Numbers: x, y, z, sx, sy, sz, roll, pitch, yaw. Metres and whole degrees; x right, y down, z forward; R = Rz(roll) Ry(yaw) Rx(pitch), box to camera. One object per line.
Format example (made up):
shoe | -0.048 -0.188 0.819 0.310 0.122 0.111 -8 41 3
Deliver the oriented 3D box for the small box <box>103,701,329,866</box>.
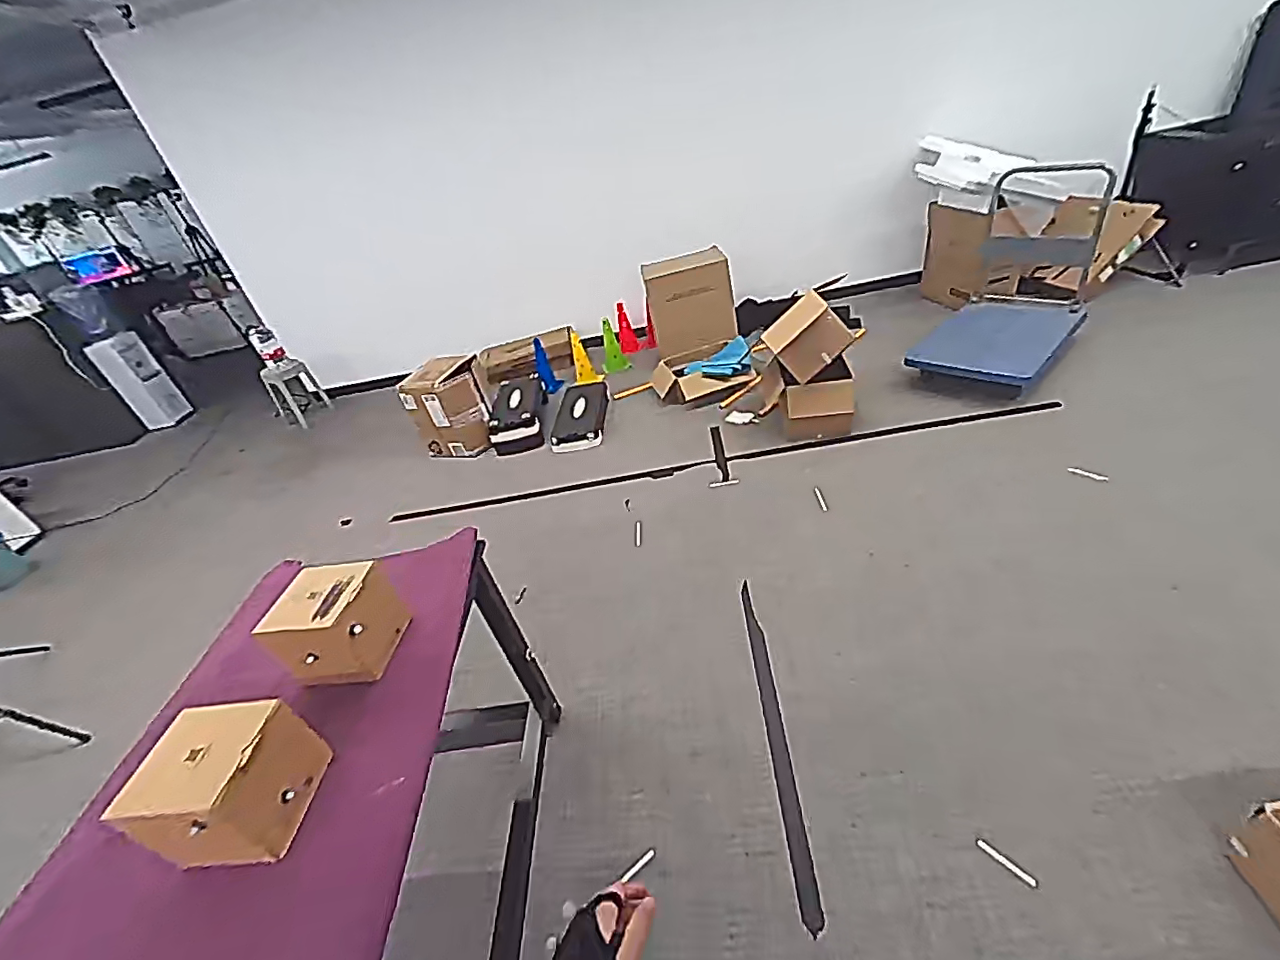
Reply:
small box | -0.632 0.470 0.834 0.179 0.176 0.168 -9 35 7
